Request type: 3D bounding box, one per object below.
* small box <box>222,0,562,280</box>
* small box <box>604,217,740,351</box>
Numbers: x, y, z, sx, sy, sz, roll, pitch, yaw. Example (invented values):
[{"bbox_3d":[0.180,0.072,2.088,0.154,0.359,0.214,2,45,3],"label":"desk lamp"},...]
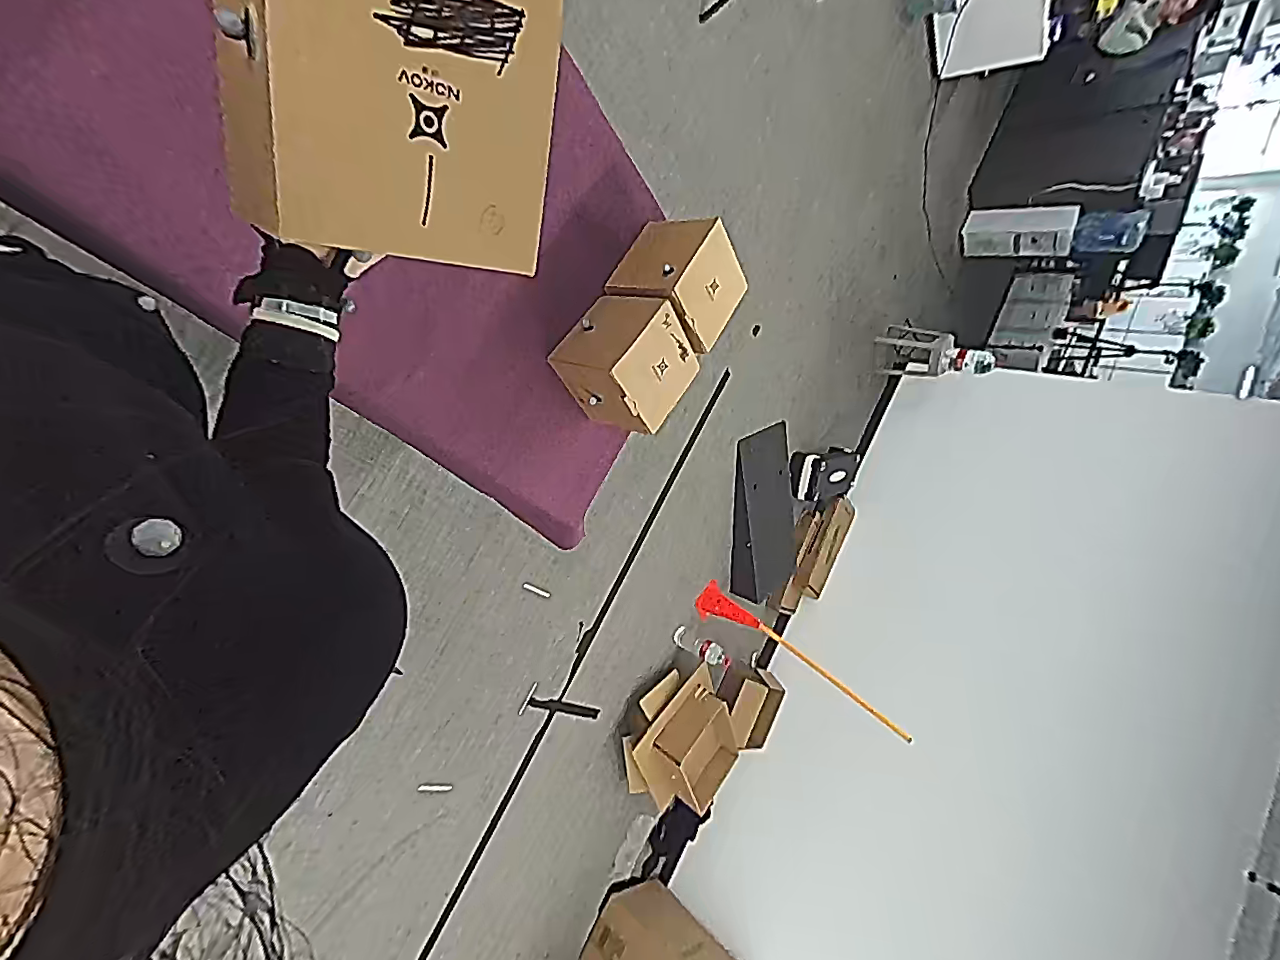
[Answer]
[{"bbox_3d":[-0.178,-0.255,0.382,0.168,0.176,0.179,-9,121,-42],"label":"small box"},{"bbox_3d":[0.062,-0.375,1.038,0.179,0.176,0.168,-60,140,-14],"label":"small box"}]
